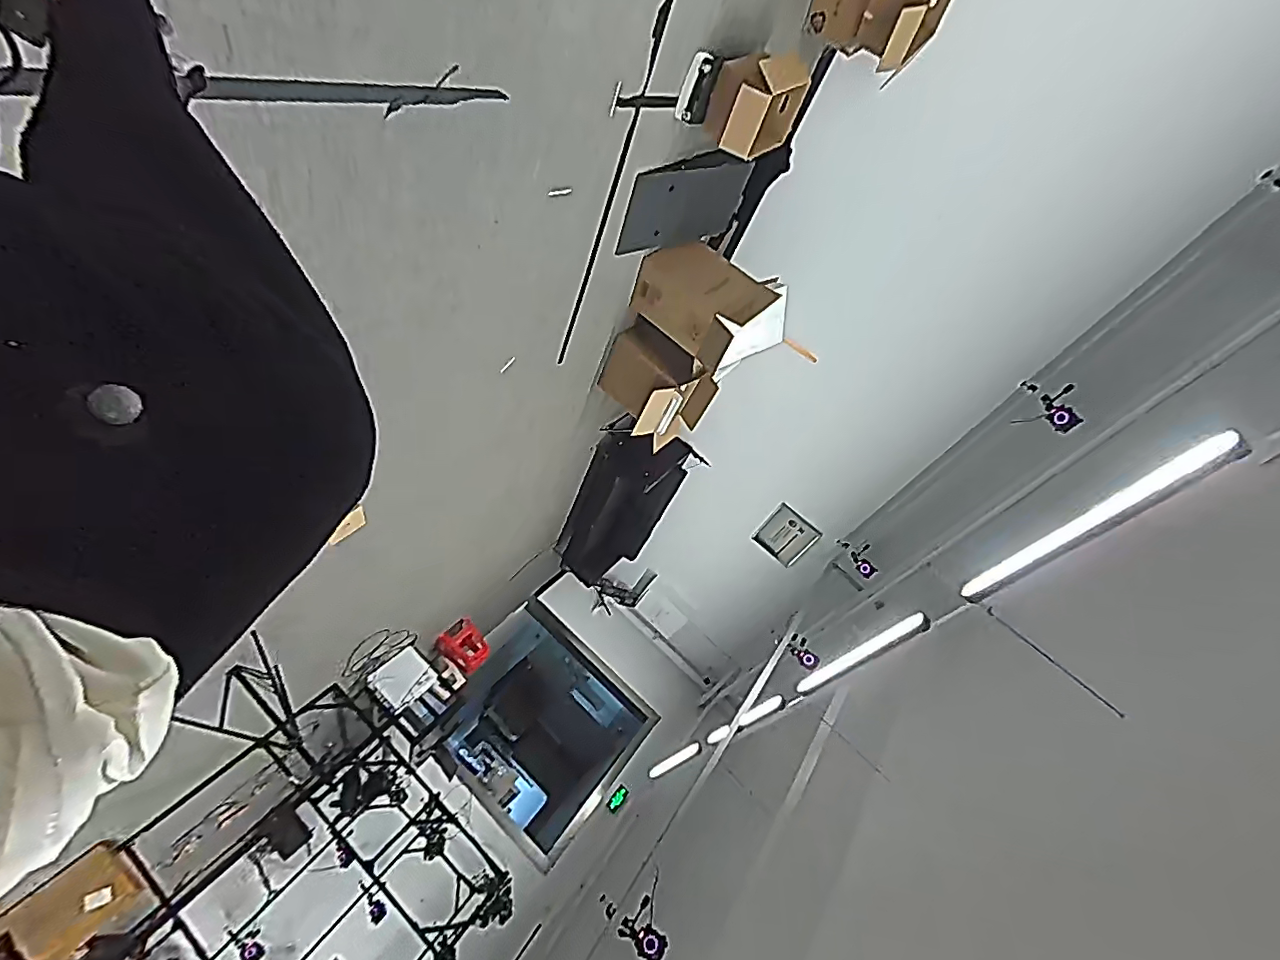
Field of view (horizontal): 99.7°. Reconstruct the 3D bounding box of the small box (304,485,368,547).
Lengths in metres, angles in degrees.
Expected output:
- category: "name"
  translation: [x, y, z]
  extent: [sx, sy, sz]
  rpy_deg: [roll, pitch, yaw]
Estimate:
- category: "small box"
  translation: [-1.332, 0.153, 2.375]
  extent: [0.179, 0.176, 0.168]
  rpy_deg: [-42, 167, -37]
